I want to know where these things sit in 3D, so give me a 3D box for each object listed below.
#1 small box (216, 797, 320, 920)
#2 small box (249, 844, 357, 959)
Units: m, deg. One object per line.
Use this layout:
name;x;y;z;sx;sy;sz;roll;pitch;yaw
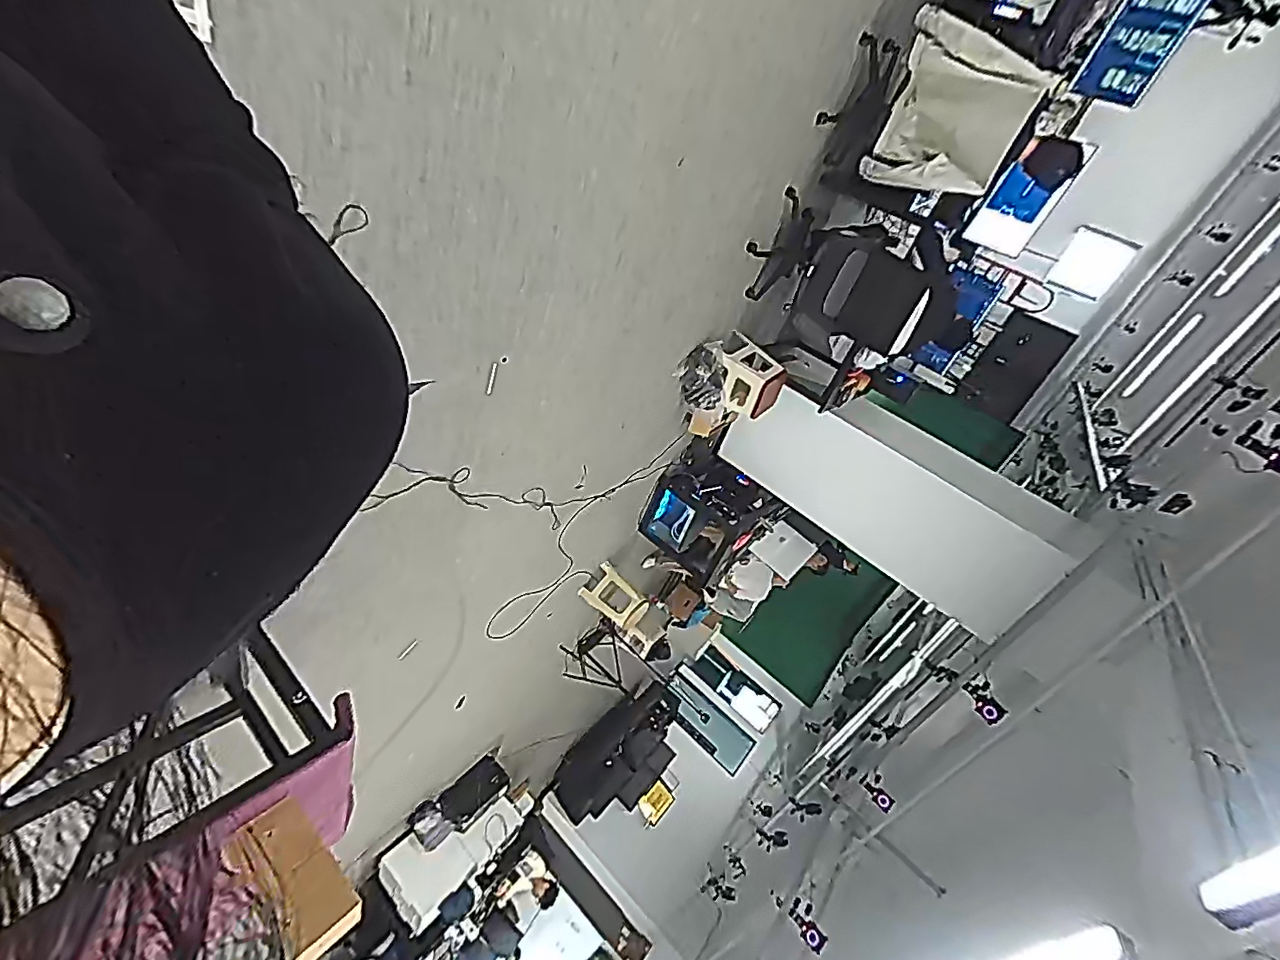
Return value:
small box;-0.936;0.950;1.367;0.168;0.176;0.179;-27;147;-48
small box;-0.816;1.042;1.310;0.179;0.176;0.168;-28;150;-48
